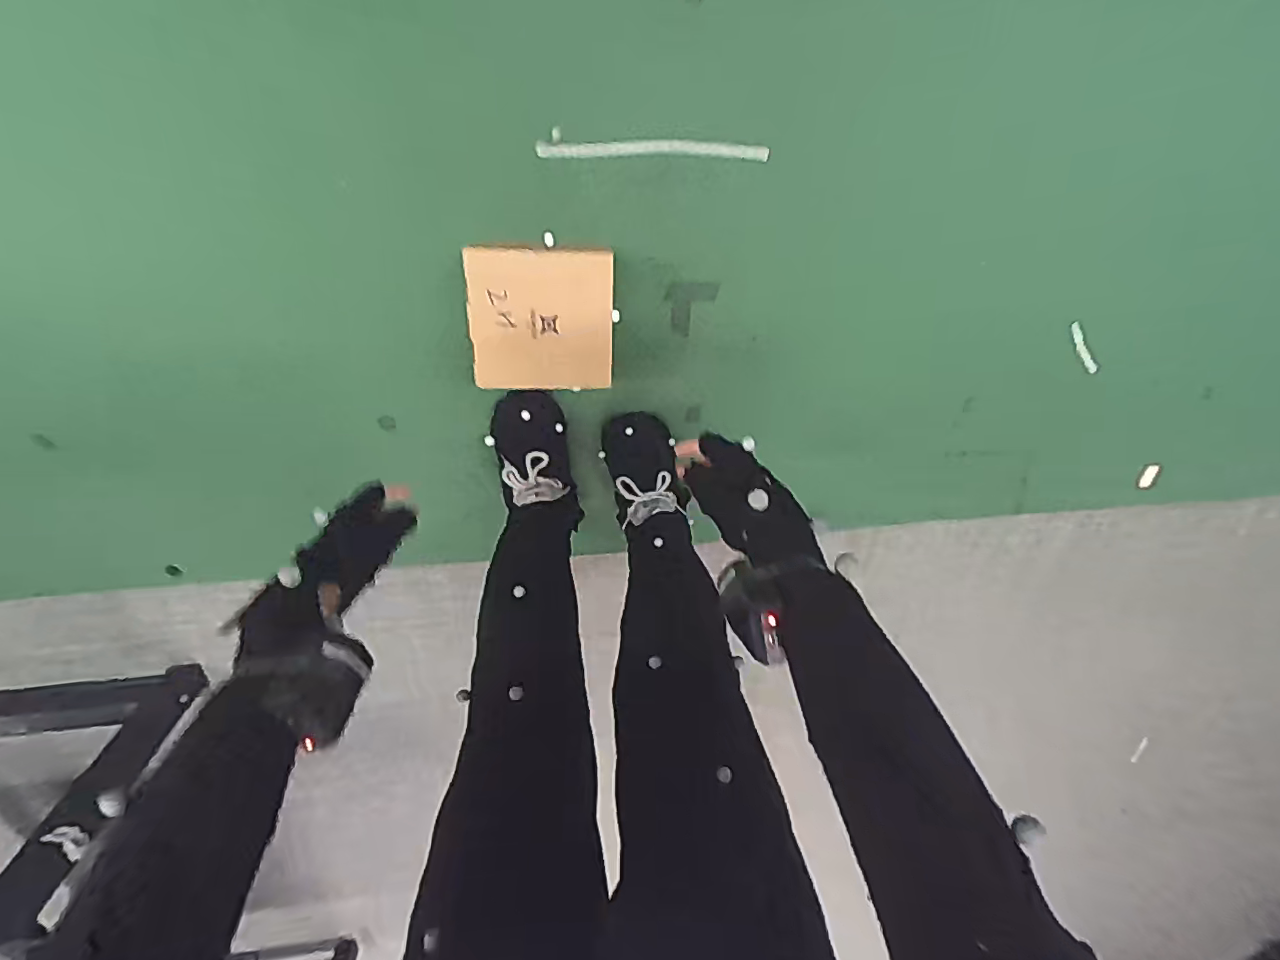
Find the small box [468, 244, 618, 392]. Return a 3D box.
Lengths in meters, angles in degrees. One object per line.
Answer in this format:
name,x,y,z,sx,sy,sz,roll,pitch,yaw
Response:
small box,-0.126,-0.225,0.735,0.179,0.176,0.168,-1,117,-7
